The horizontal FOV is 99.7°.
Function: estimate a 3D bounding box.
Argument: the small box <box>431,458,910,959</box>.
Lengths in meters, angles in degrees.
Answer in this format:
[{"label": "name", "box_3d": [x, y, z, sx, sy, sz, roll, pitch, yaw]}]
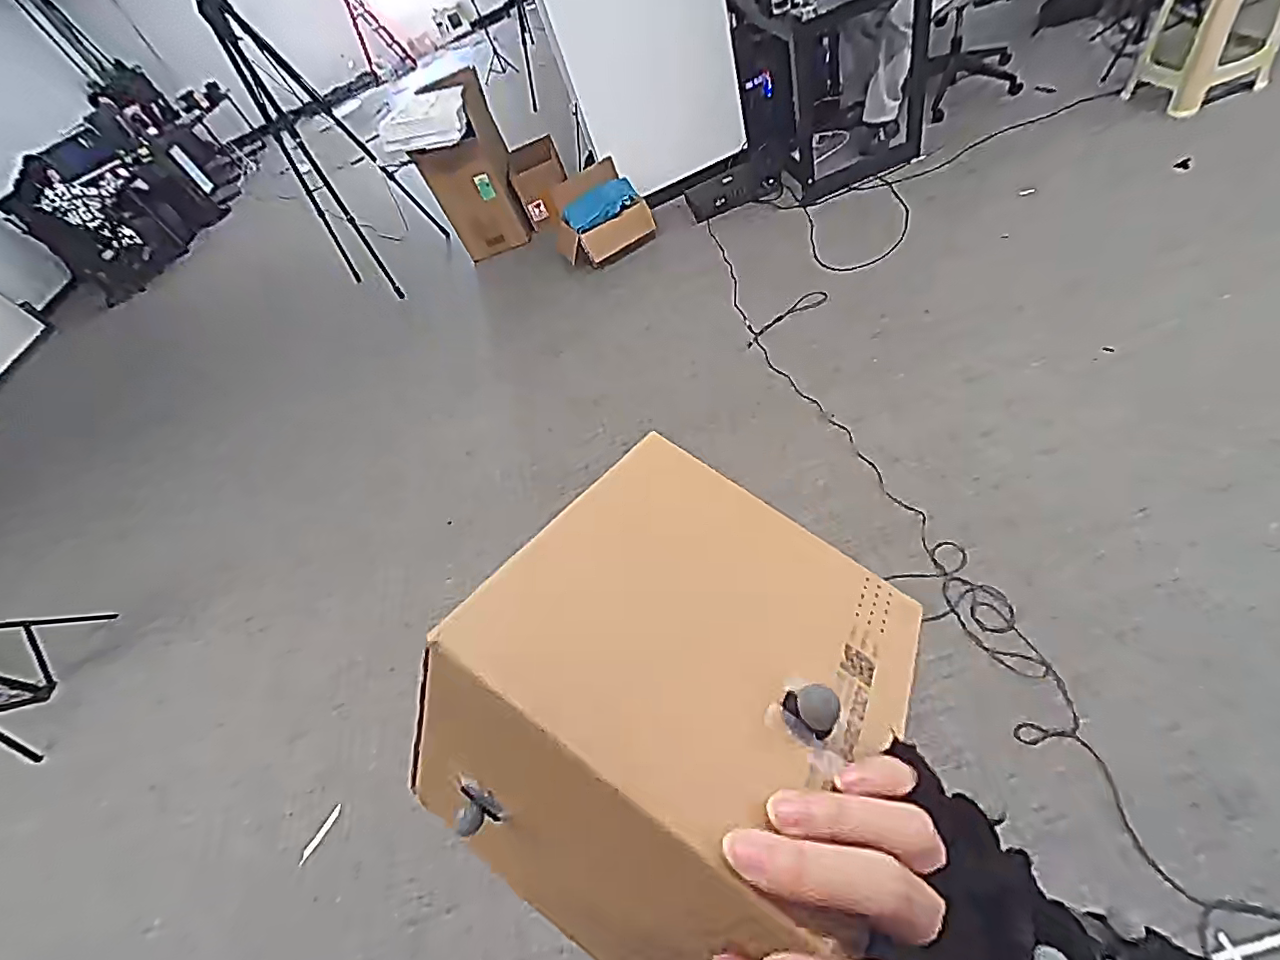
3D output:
[{"label": "small box", "box_3d": [0.012, 0.128, 0.297, 0.176, 0.179, 0.168, 33, 42, 10]}]
